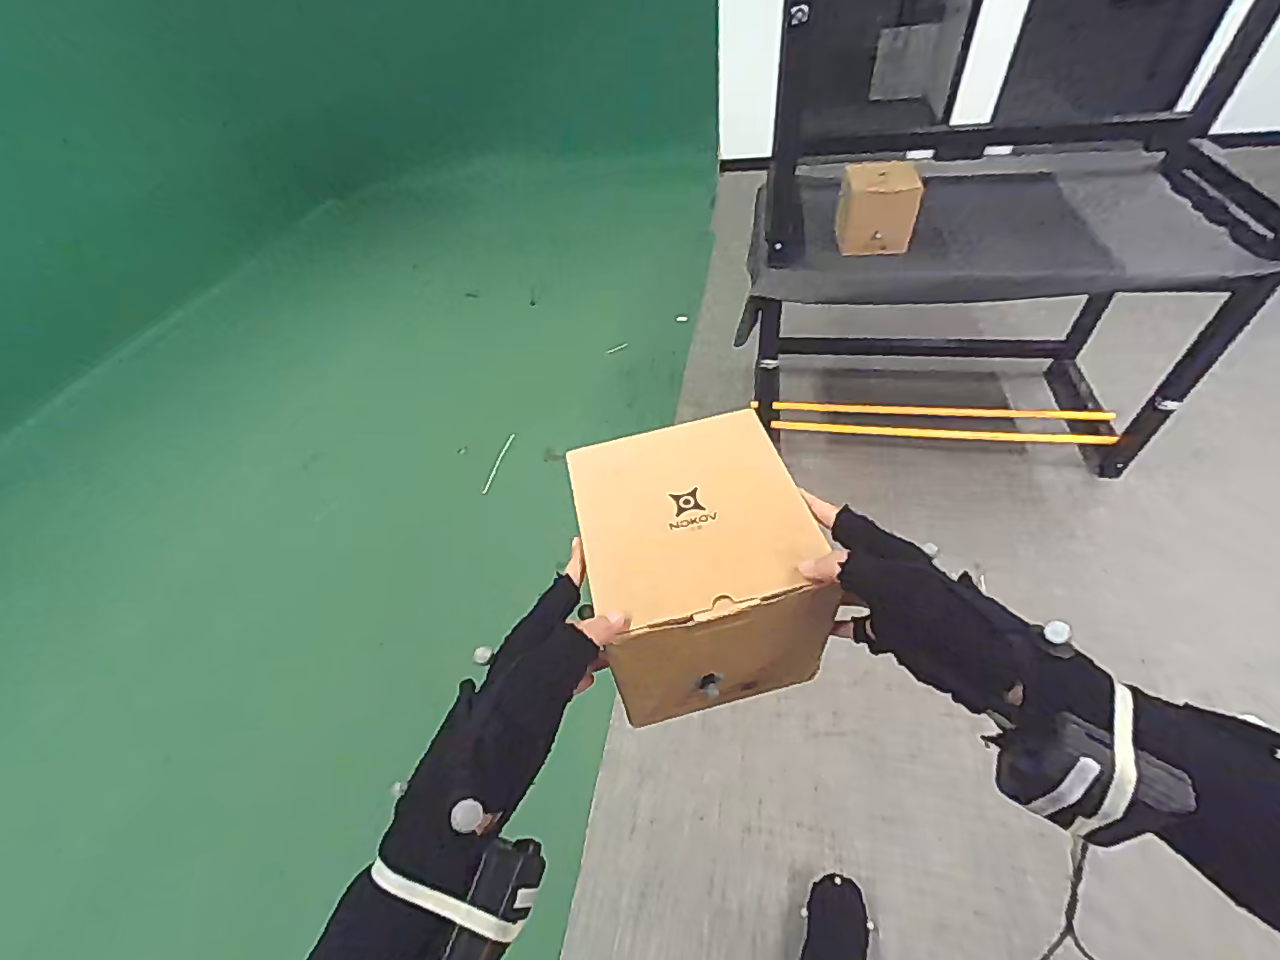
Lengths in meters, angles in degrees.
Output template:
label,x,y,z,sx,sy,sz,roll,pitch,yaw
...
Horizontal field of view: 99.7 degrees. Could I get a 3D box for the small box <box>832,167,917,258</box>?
label,x,y,z,sx,sy,sz,roll,pitch,yaw
small box,0.619,-0.715,1.448,0.168,0.176,0.179,2,49,10
